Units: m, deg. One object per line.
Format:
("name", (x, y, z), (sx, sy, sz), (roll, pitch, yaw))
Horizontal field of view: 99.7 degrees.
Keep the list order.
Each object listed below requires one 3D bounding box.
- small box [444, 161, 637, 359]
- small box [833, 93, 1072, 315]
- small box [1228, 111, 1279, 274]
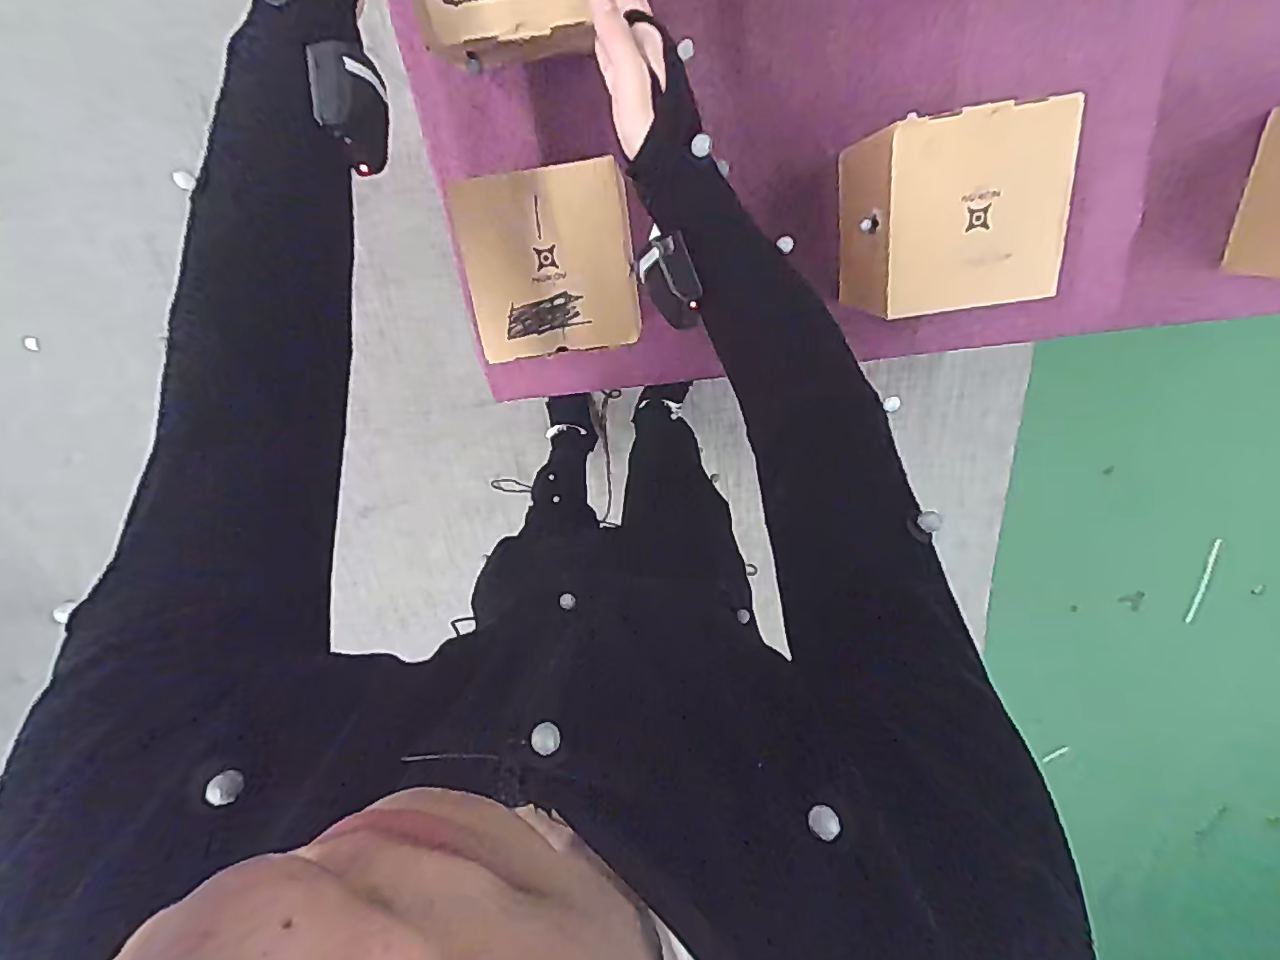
("small box", (-0.097, -0.249, 0.625), (0.168, 0.176, 0.179), (-5, 113, 5))
("small box", (0.315, -0.287, 0.590), (0.168, 0.176, 0.179), (-5, 114, 6))
("small box", (0.782, -0.309, 0.553), (0.168, 0.176, 0.179), (-4, 115, 6))
